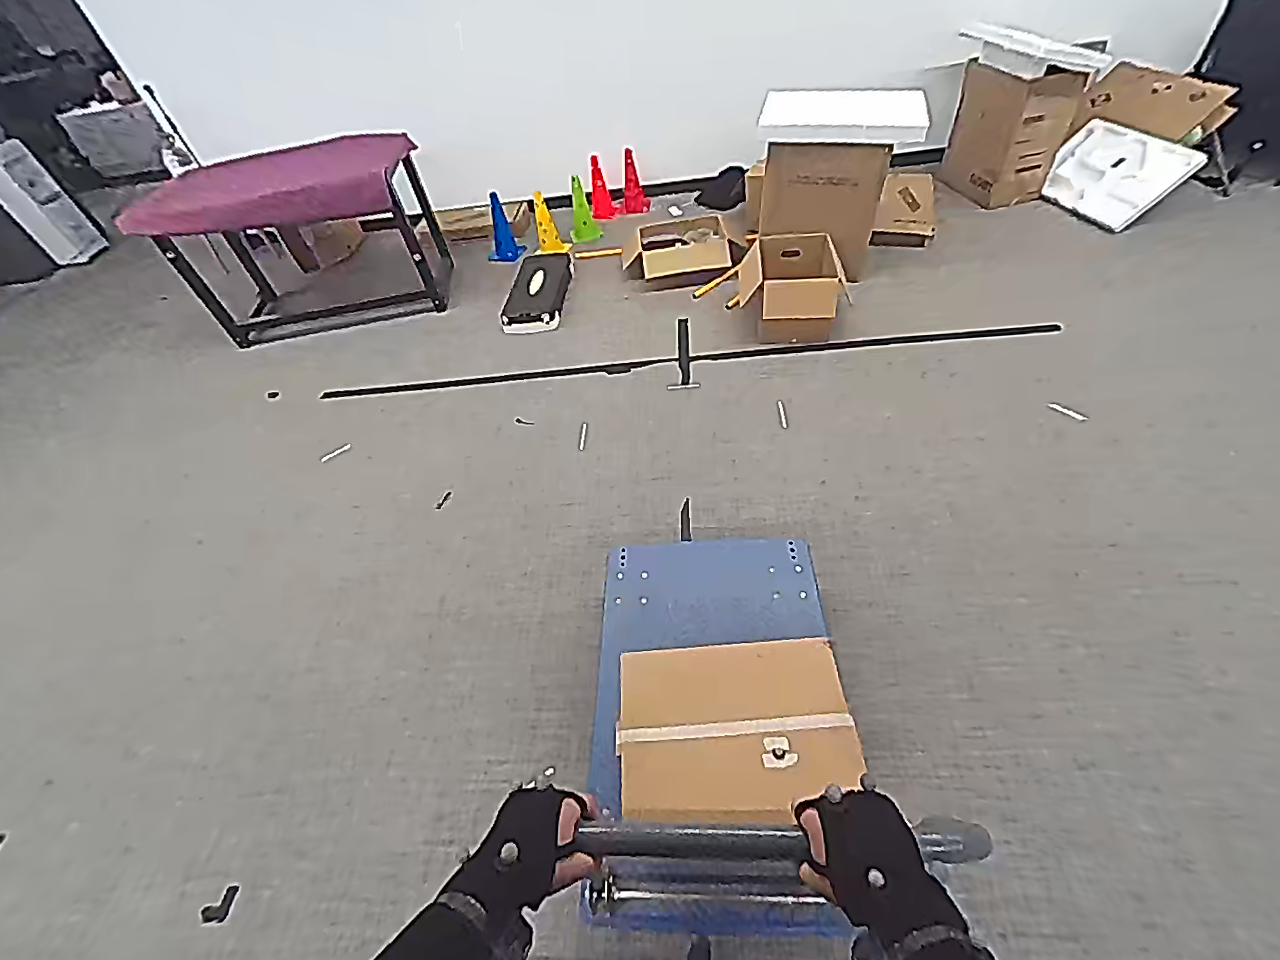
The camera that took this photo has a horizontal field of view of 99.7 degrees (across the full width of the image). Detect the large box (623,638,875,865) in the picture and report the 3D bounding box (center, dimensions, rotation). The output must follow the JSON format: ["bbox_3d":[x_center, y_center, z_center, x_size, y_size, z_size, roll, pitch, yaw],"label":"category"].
[{"bbox_3d":[0.184,0.541,1.069,0.408,0.320,0.320,-5,48,3],"label":"large box"}]
